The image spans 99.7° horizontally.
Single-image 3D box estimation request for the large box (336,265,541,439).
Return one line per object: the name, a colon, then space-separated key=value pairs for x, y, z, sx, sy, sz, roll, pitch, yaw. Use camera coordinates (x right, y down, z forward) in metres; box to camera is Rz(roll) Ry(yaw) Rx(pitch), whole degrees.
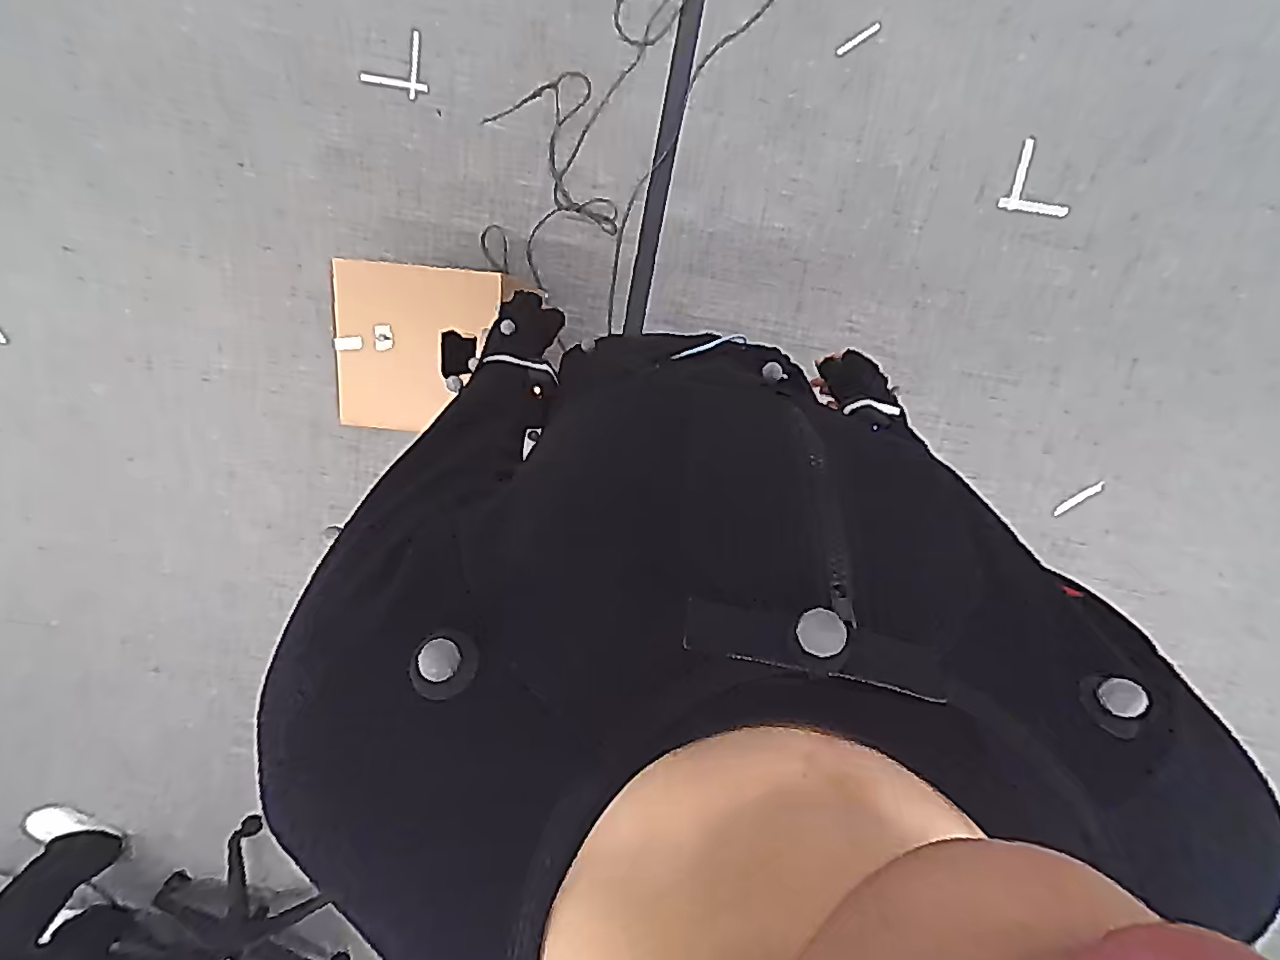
large box: x=-0.421 y=-0.294 z=1.219 sx=0.320 sy=0.408 sz=0.320 roll=6 pitch=105 yaw=-1
